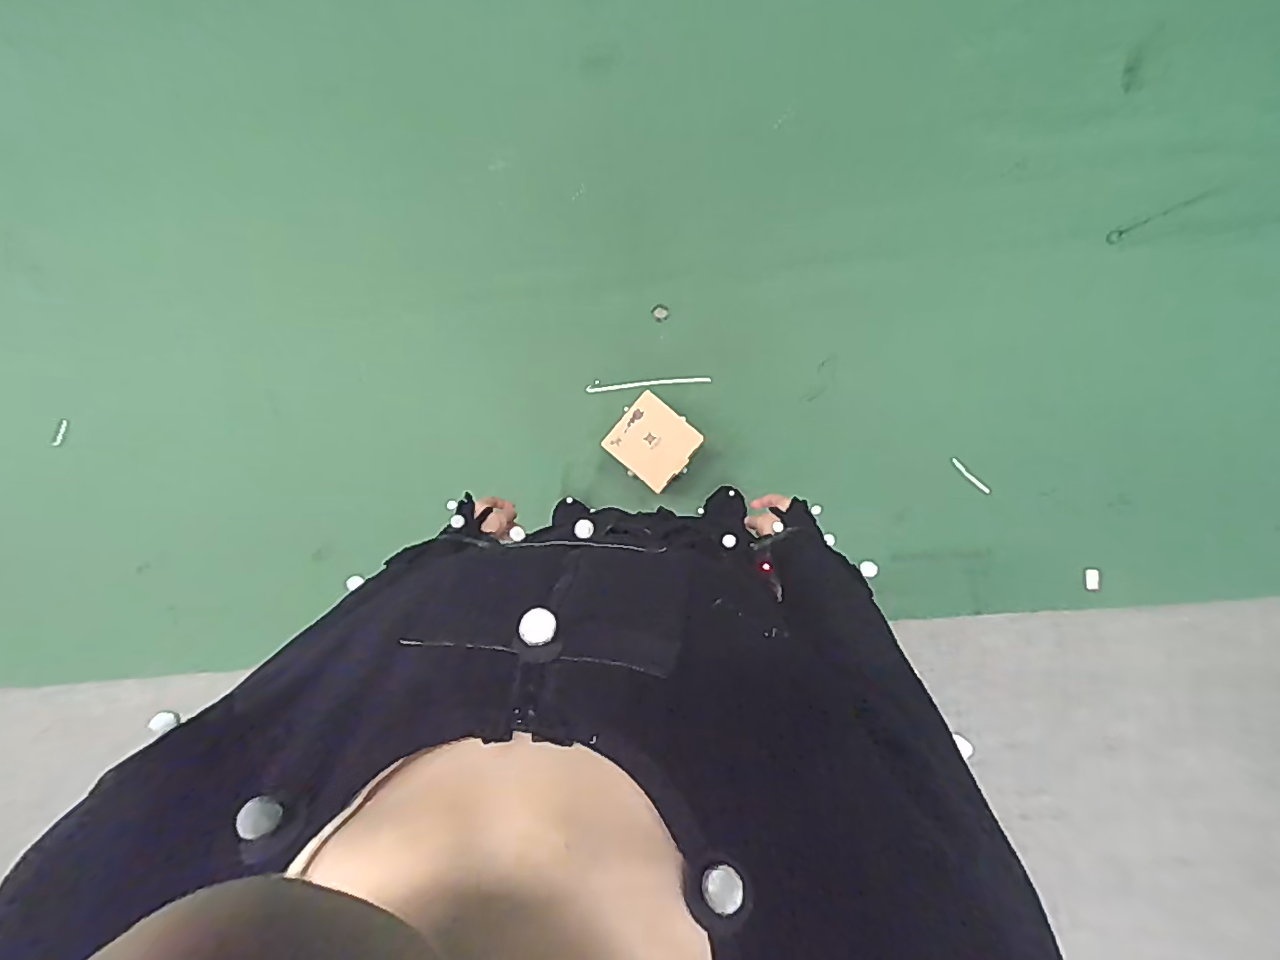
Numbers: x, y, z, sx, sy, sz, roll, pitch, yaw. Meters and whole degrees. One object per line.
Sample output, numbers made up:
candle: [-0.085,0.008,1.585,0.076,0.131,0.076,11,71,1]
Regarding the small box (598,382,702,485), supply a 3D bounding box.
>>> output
small box: [0.026,-0.107,1.283,0.179,0.176,0.168,41,92,2]
